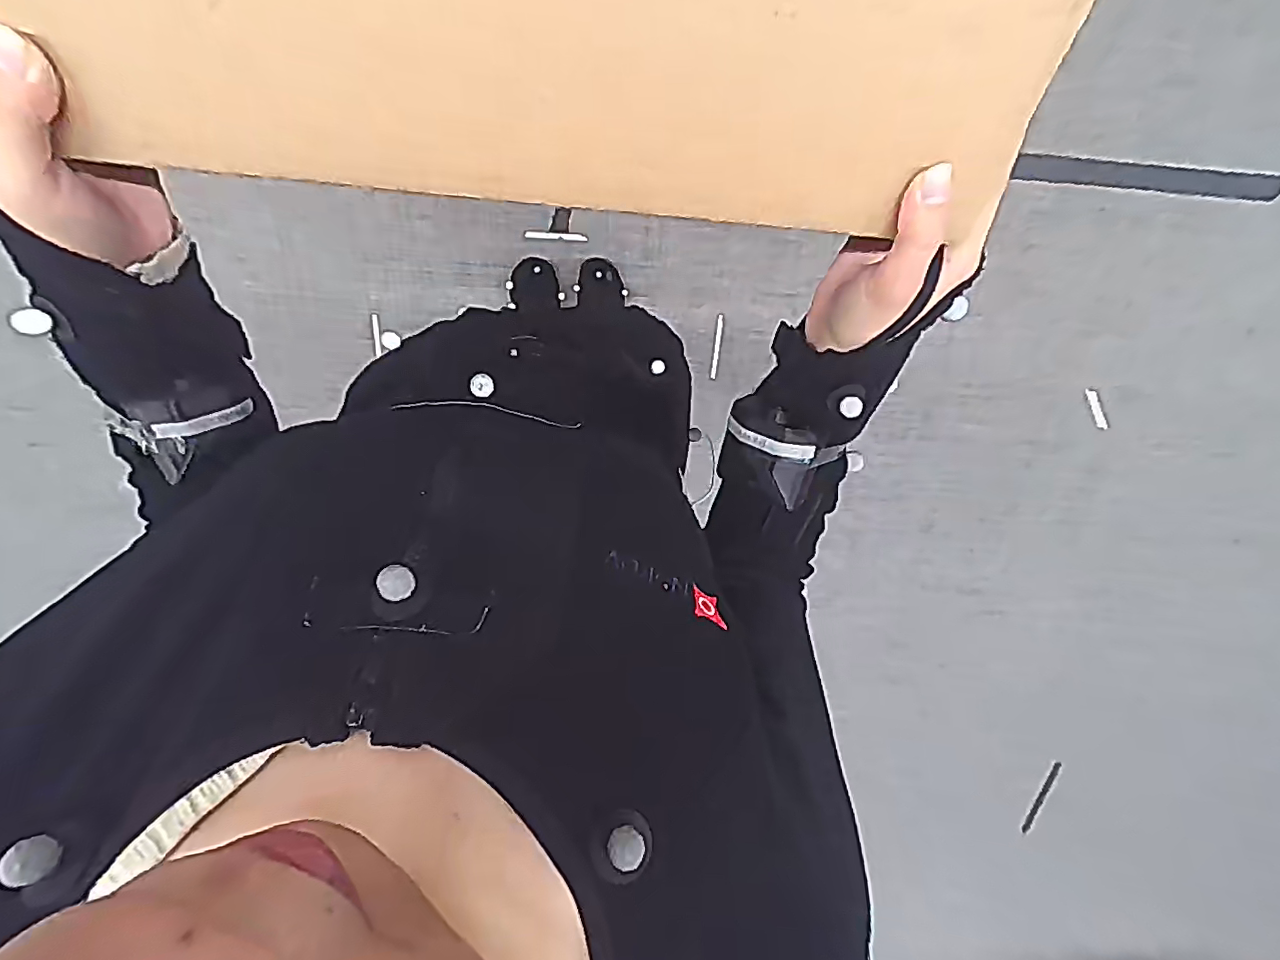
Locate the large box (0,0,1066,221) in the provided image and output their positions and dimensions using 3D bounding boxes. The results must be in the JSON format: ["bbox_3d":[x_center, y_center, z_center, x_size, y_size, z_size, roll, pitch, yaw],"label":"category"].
[{"bbox_3d":[-0.041,-0.339,0.239,0.408,0.320,0.320,2,135,-6],"label":"large box"}]
